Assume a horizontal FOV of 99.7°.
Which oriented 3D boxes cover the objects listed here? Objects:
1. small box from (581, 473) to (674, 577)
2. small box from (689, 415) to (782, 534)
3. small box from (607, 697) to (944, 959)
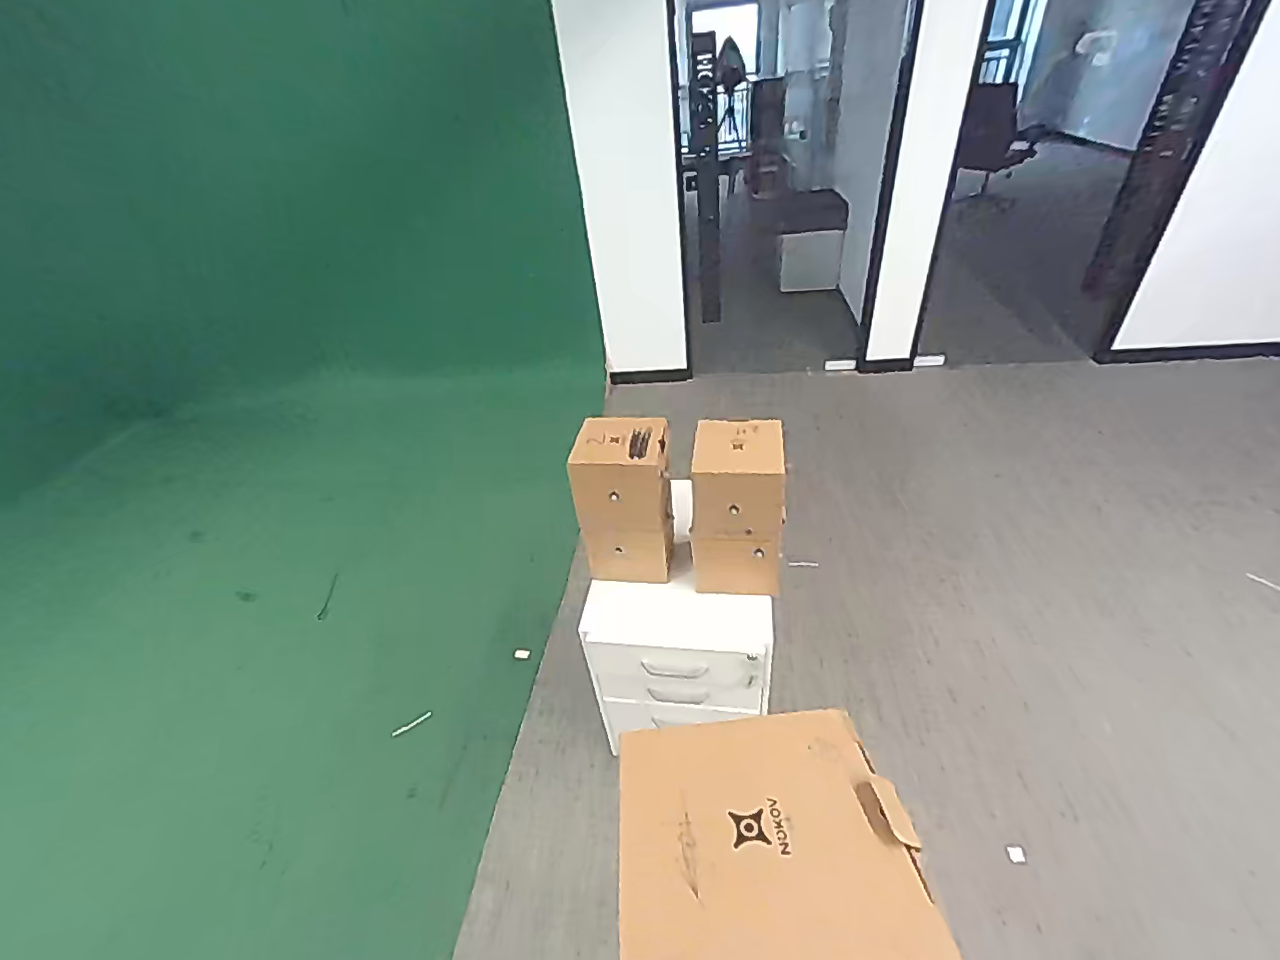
[{"bbox_3d":[-0.020,0.102,1.217,0.179,0.176,0.168,2,40,9],"label":"small box"},{"bbox_3d":[0.190,-0.011,1.059,0.168,0.176,0.179,2,39,11],"label":"small box"},{"bbox_3d":[0.077,0.285,0.379,0.179,0.176,0.168,-9,25,2],"label":"small box"}]
